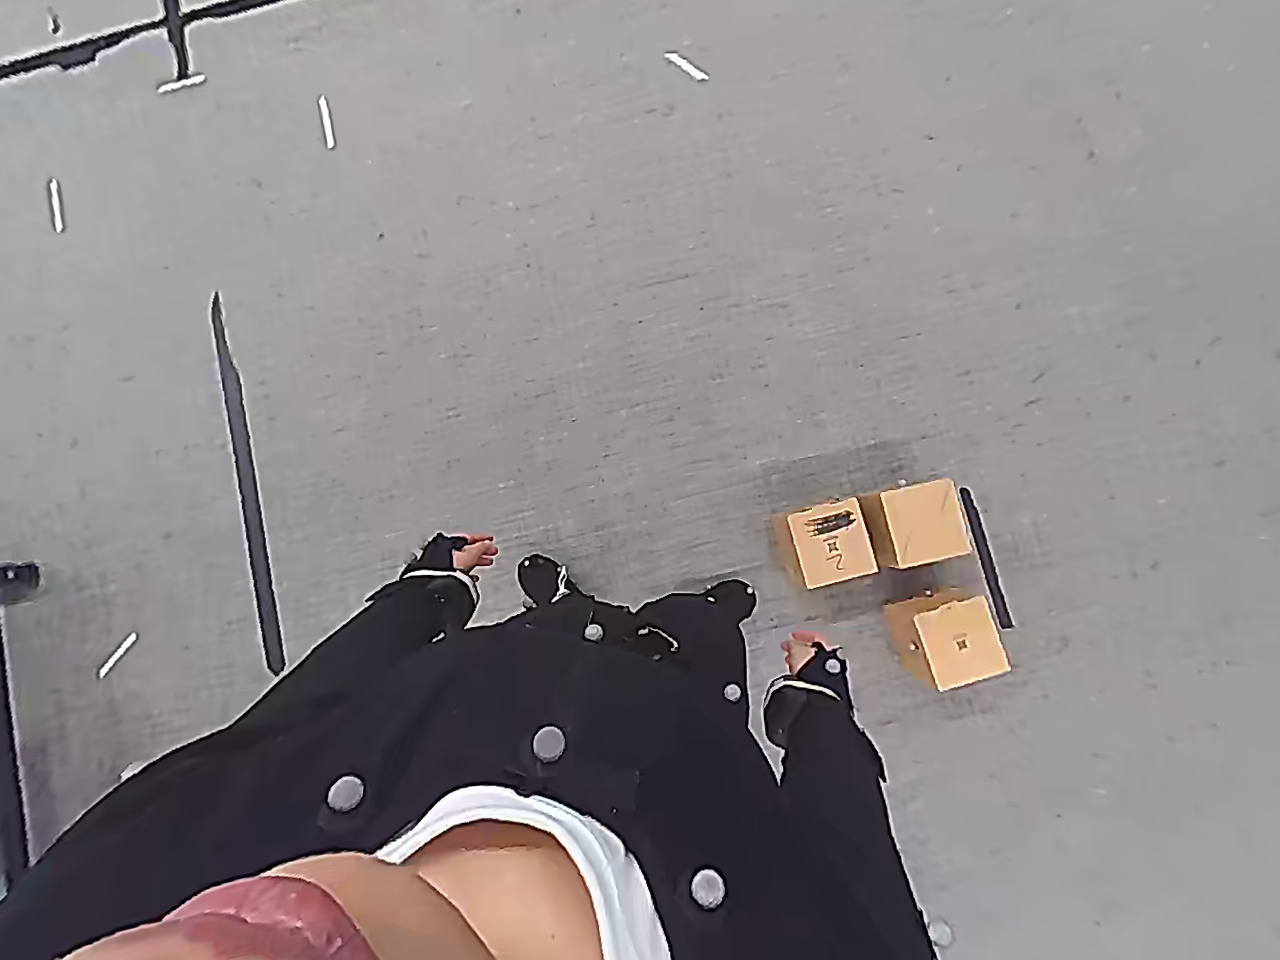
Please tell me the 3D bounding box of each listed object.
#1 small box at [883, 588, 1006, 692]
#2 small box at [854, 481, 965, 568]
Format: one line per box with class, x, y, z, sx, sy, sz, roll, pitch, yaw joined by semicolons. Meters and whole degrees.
small box;0.707;0.369;1.274;0.168;0.176;0.179;-17;84;1
small box;0.641;0.107;1.292;0.168;0.176;0.179;-12;85;1
